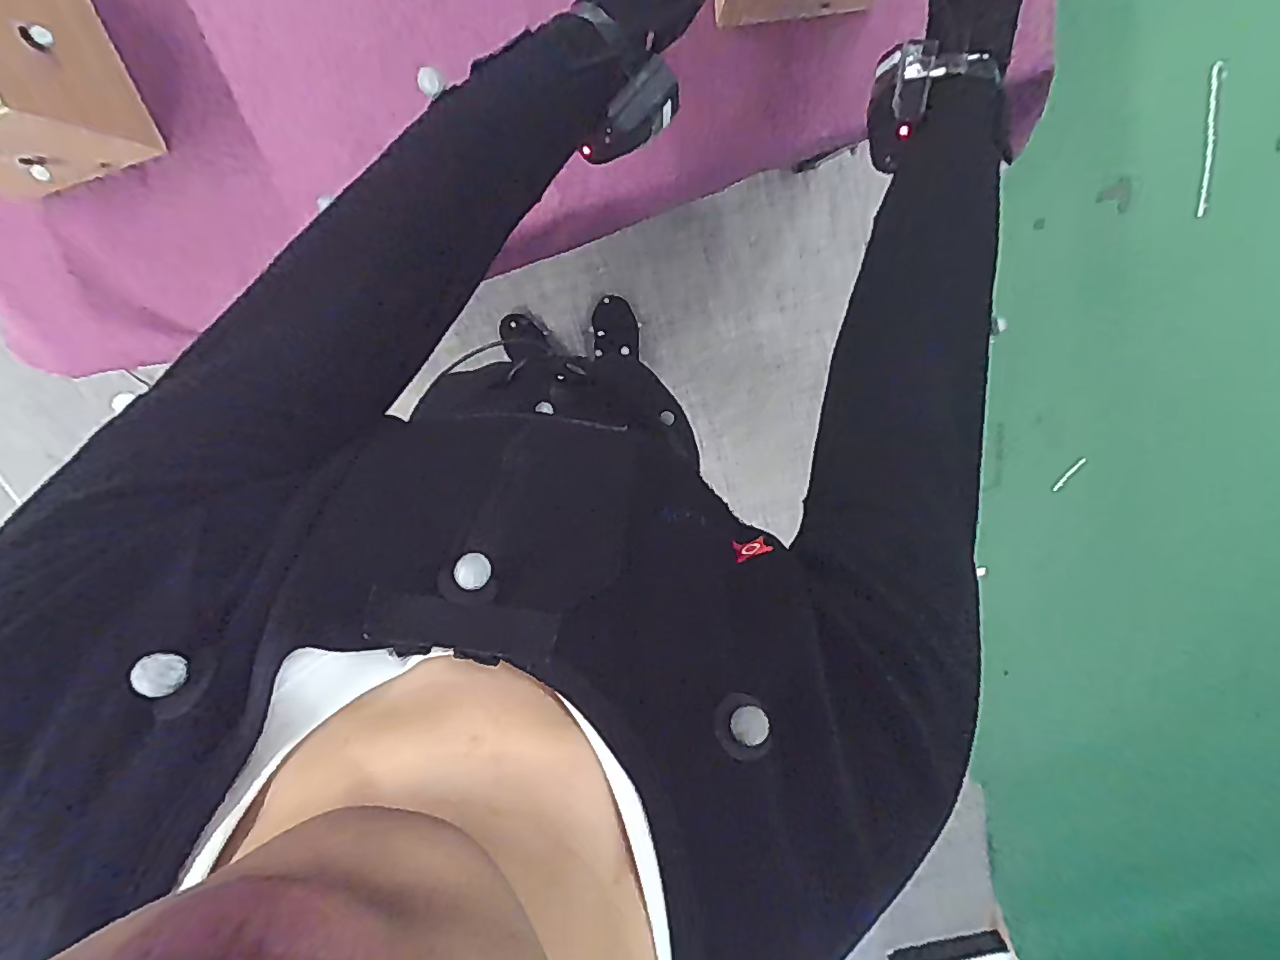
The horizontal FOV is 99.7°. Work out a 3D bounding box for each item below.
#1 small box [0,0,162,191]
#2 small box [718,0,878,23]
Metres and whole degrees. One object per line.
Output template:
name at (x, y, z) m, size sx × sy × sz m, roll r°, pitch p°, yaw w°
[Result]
small box at (-0.606, -0.379, 0.489) m, size 0.168 × 0.176 × 0.179 m, roll -16°, pitch 111°, yaw 4°
small box at (0.153, -0.522, 0.453) m, size 0.168 × 0.176 × 0.179 m, roll -5°, pitch 110°, yaw 1°
